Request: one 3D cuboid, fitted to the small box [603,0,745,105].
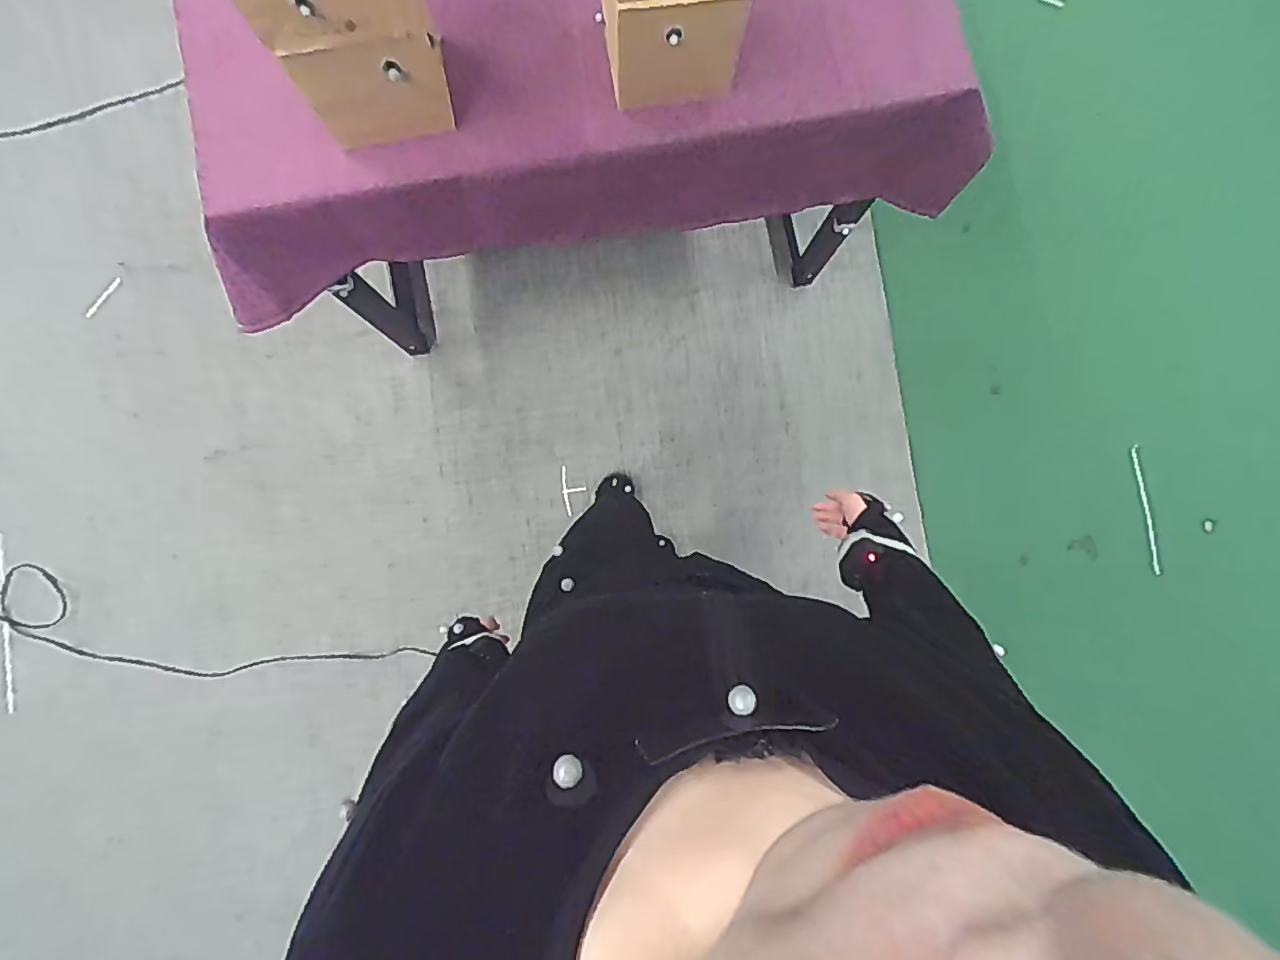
[{"bbox_3d":[0.039,-0.668,0.762,0.179,0.176,0.168,-9,86,-3],"label":"small box"}]

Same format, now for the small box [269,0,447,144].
[{"bbox_3d":[-0.379,-0.602,0.743,0.179,0.176,0.168,-11,85,-3],"label":"small box"}]

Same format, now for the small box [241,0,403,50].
[{"bbox_3d":[-0.378,-0.621,0.581,0.168,0.176,0.179,-11,87,-3],"label":"small box"}]
